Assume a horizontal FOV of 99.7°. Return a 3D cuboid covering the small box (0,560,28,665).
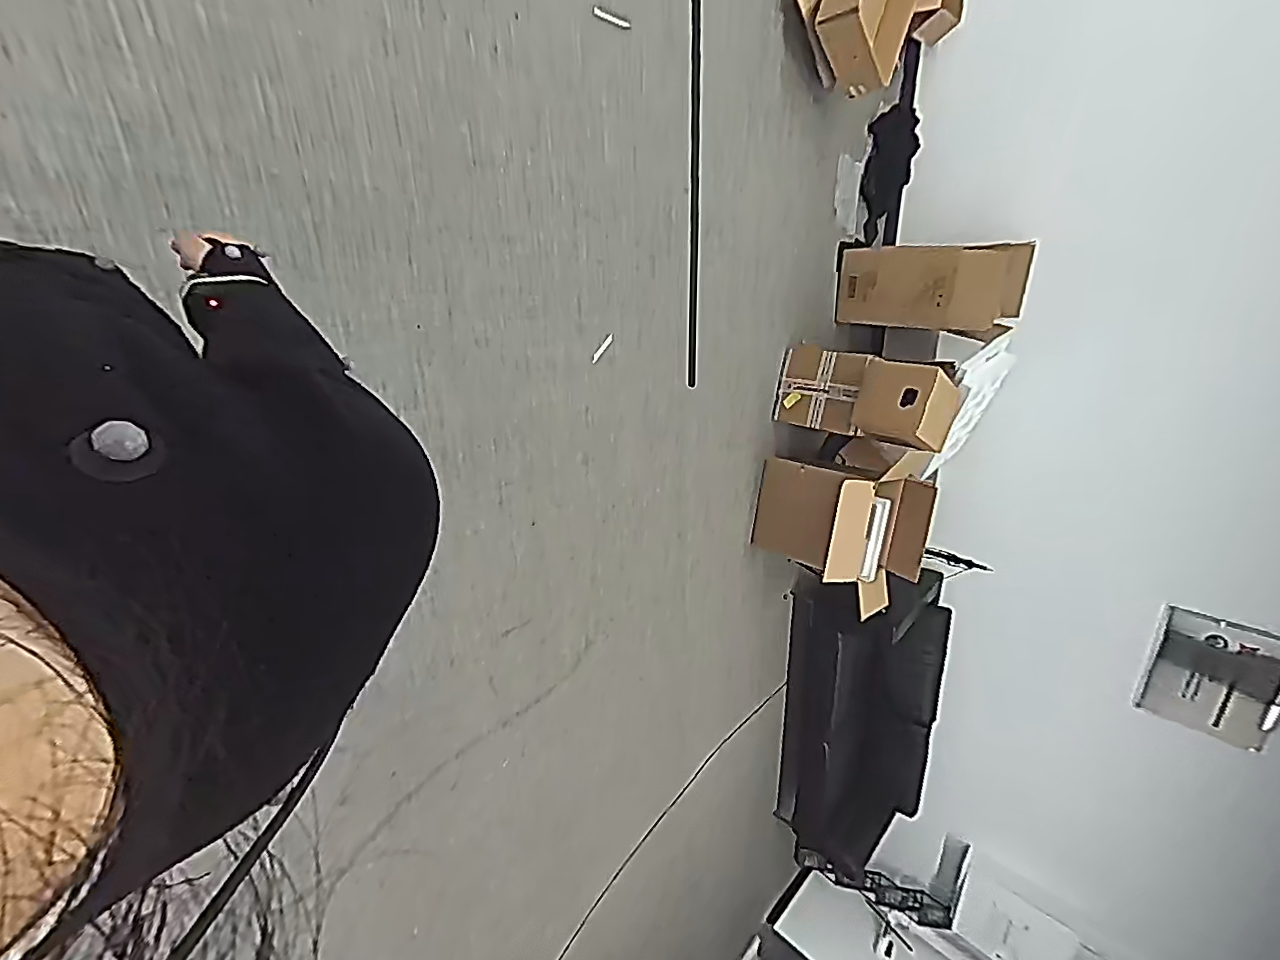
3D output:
[{"bbox_3d":[-1.218,0.238,0.942,0.168,0.176,0.179,-22,120,-41],"label":"small box"}]
